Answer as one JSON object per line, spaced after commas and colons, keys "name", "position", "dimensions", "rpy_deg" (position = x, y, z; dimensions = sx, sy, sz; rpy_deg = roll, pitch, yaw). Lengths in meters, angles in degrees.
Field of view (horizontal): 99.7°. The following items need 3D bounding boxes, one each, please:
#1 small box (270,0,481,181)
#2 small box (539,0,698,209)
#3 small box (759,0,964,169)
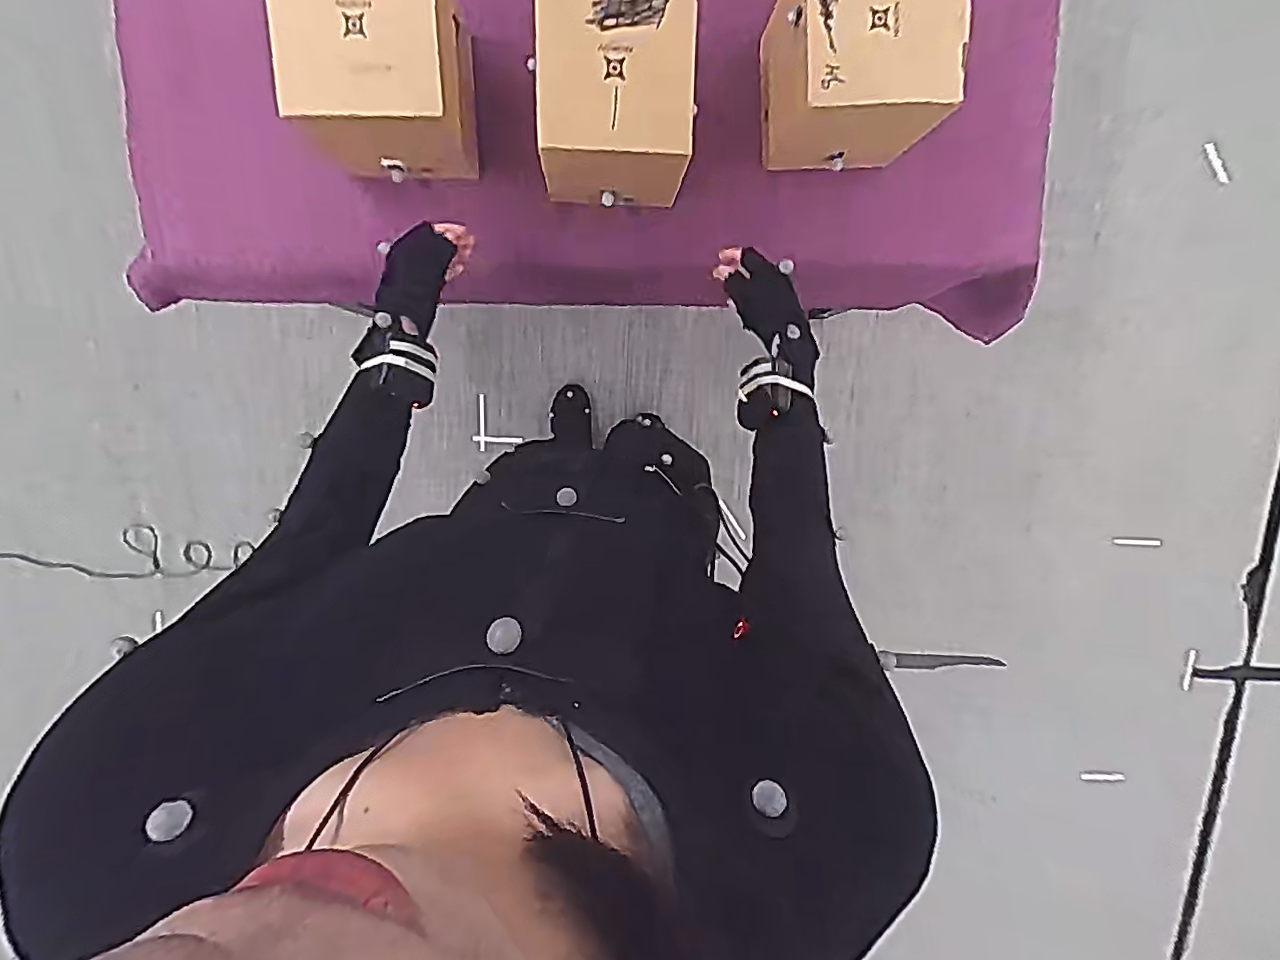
{"name": "small box", "position": [-0.286, -0.468, 0.616], "dimensions": [0.168, 0.176, 0.179], "rpy_deg": [-2, 99, -3]}
{"name": "small box", "position": [-0.029, -0.444, 0.637], "dimensions": [0.168, 0.176, 0.179], "rpy_deg": [0, 98, -4]}
{"name": "small box", "position": [0.254, -0.496, 0.651], "dimensions": [0.179, 0.176, 0.168], "rpy_deg": [-4, 98, -4]}
